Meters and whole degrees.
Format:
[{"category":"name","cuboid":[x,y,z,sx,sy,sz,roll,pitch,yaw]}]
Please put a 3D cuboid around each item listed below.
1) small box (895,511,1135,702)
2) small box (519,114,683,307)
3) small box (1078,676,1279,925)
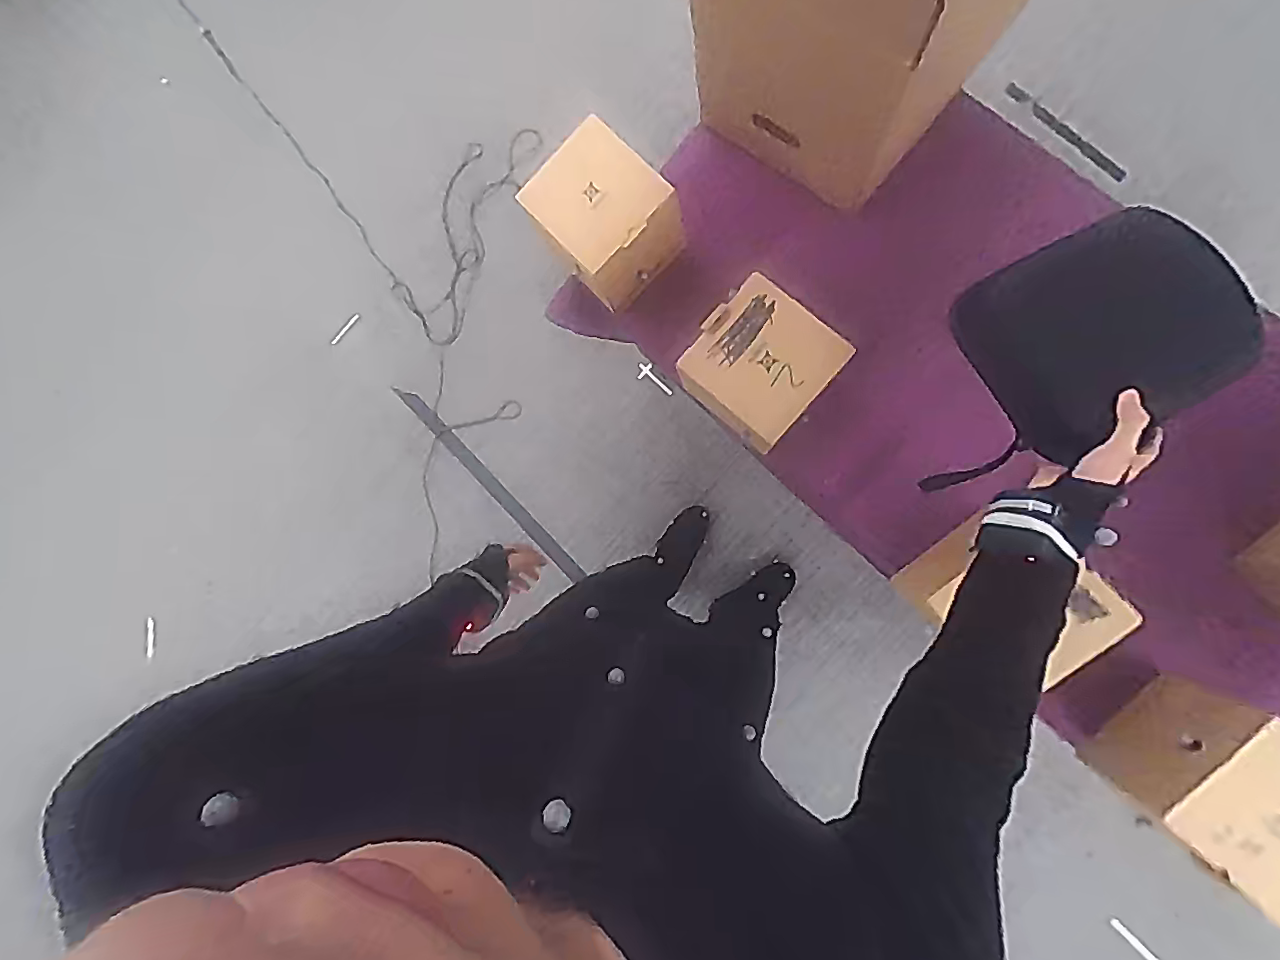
[{"category":"small box","cuboid":[0.485,0.156,0.735,0.179,0.176,0.168,-40,82,8]},{"category":"small box","cuboid":[-0.051,-0.405,0.846,0.168,0.176,0.179,-44,83,6]},{"category":"small box","cuboid":[0.725,0.383,0.685,0.168,0.176,0.179,44,96,9]}]
